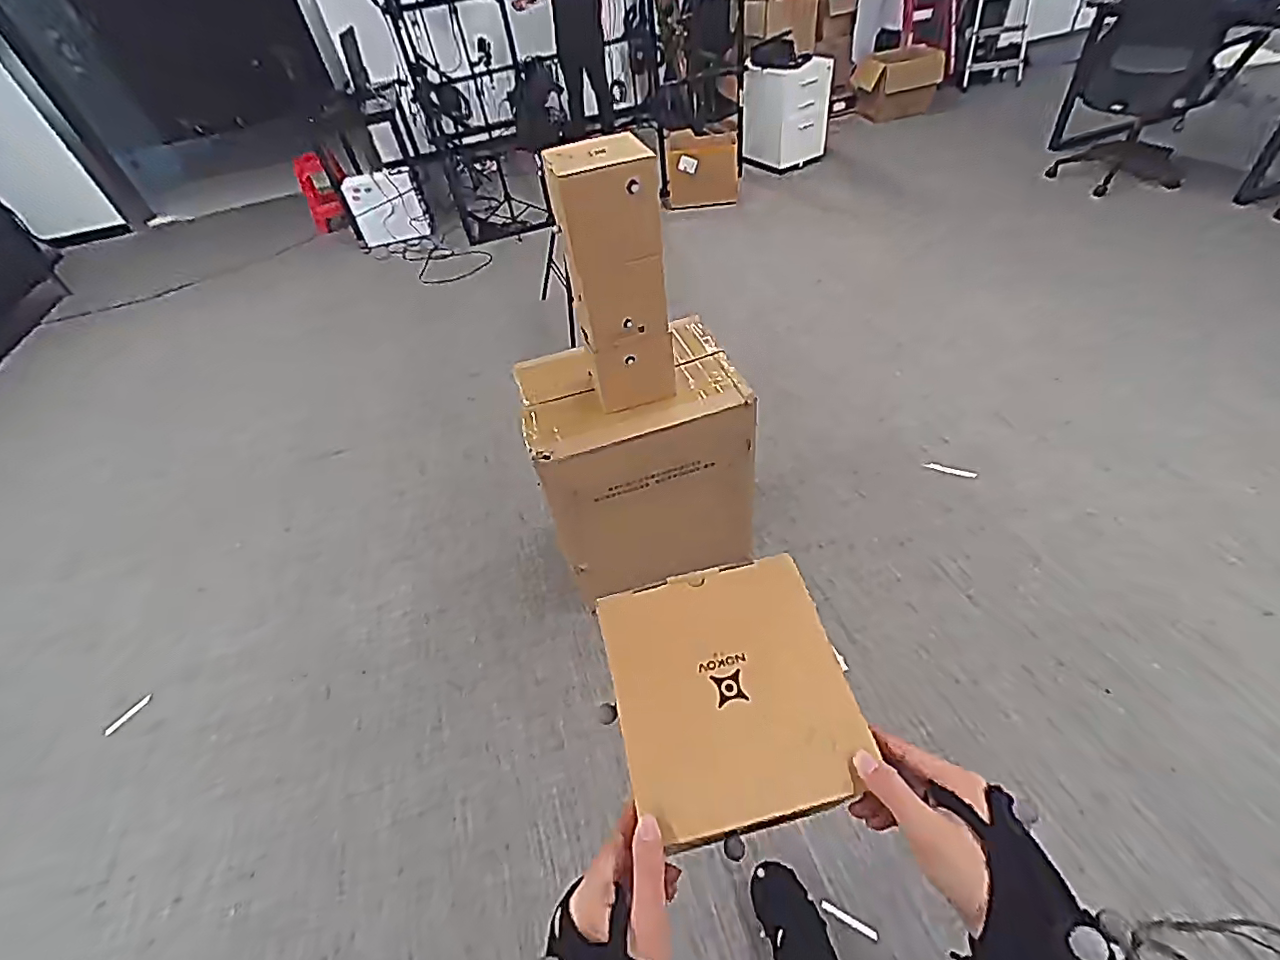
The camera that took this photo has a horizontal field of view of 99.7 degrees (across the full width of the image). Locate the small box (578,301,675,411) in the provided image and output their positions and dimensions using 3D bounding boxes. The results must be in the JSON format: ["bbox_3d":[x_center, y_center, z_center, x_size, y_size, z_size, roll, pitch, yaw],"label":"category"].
[{"bbox_3d":[-0.029,-0.282,1.243,0.179,0.176,0.168,-16,46,-7],"label":"small box"}]

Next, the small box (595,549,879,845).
[{"bbox_3d":[0.068,0.188,0.456,0.168,0.176,0.179,-13,53,-4],"label":"small box"}]

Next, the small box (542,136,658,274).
[{"bbox_3d":[-0.069,-0.514,1.013,0.179,0.176,0.168,-17,46,-7],"label":"small box"}]
